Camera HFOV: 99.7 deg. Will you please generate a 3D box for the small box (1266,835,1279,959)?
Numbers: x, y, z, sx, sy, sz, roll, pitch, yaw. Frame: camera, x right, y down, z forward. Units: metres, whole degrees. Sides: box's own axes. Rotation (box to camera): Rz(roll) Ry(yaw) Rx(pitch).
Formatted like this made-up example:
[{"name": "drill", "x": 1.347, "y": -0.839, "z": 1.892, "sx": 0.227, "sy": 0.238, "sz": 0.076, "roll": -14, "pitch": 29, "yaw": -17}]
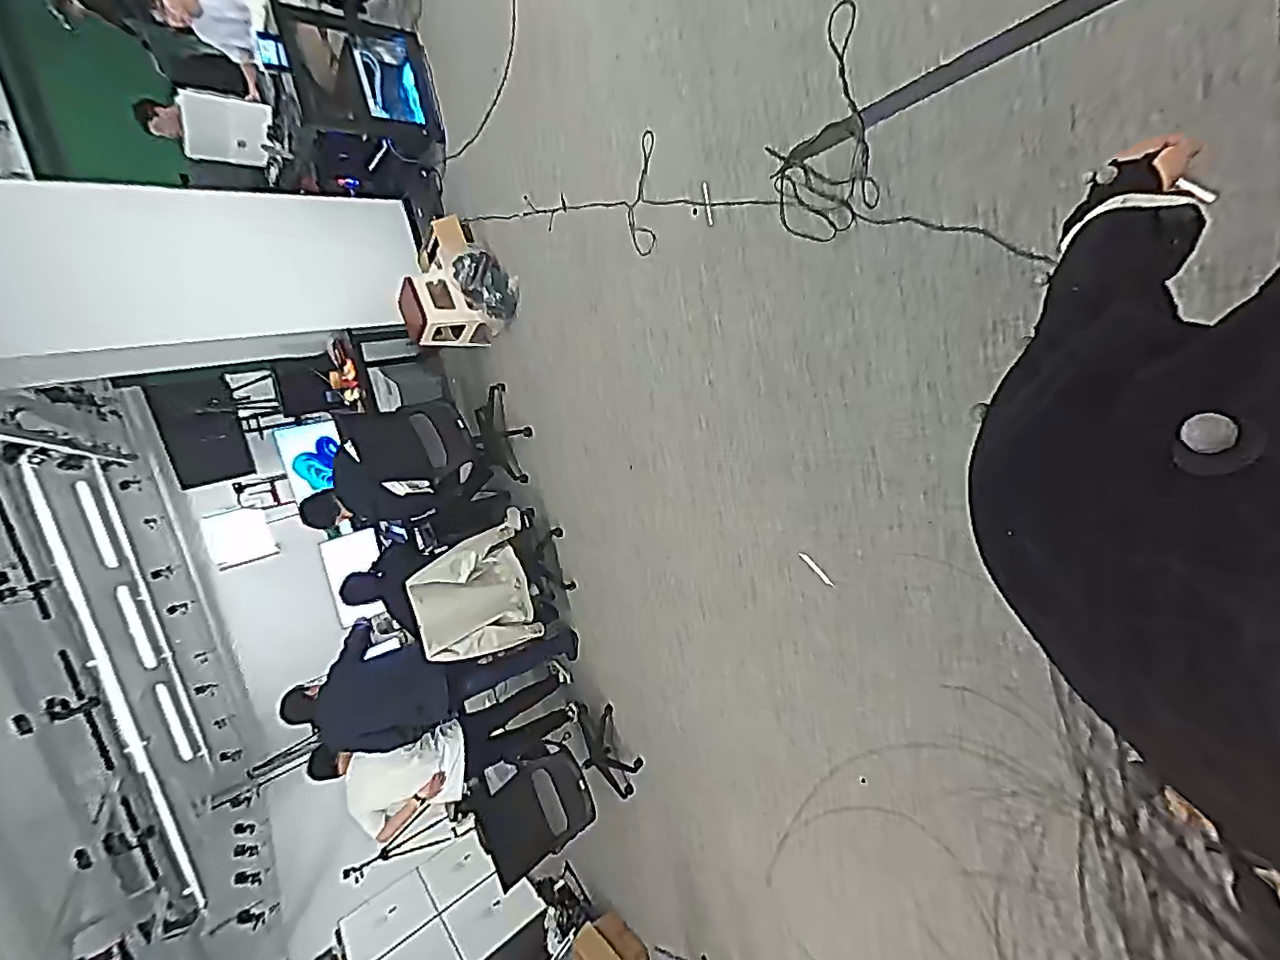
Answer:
[{"name": "small box", "x": 0.933, "y": 0.572, "z": 0.687, "sx": 0.168, "sy": 0.176, "sz": 0.179, "roll": 8, "pitch": 111, "yaw": 51}]
